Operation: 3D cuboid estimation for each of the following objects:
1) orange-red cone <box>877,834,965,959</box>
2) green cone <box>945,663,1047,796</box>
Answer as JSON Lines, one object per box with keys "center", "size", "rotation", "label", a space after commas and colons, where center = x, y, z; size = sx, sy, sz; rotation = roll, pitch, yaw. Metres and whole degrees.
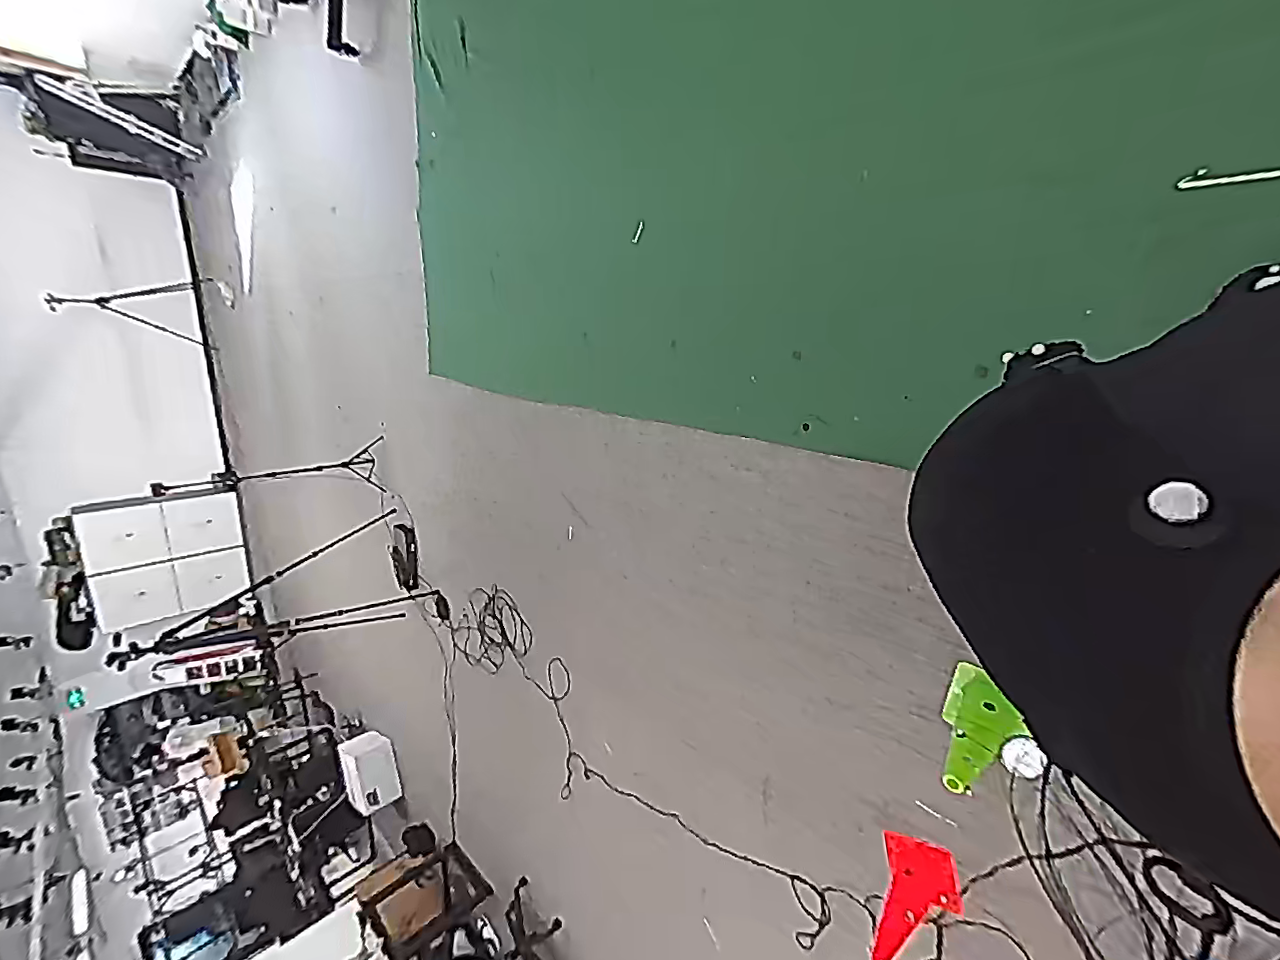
{"center": [0.743, 1.214, 1.508], "size": [0.198, 0.360, 0.199], "rotation": [-8, 92, 44], "label": "orange-red cone"}
{"center": [0.808, 0.632, 1.301], "size": [0.200, 0.368, 0.202], "rotation": [19, 114, 41], "label": "green cone"}
